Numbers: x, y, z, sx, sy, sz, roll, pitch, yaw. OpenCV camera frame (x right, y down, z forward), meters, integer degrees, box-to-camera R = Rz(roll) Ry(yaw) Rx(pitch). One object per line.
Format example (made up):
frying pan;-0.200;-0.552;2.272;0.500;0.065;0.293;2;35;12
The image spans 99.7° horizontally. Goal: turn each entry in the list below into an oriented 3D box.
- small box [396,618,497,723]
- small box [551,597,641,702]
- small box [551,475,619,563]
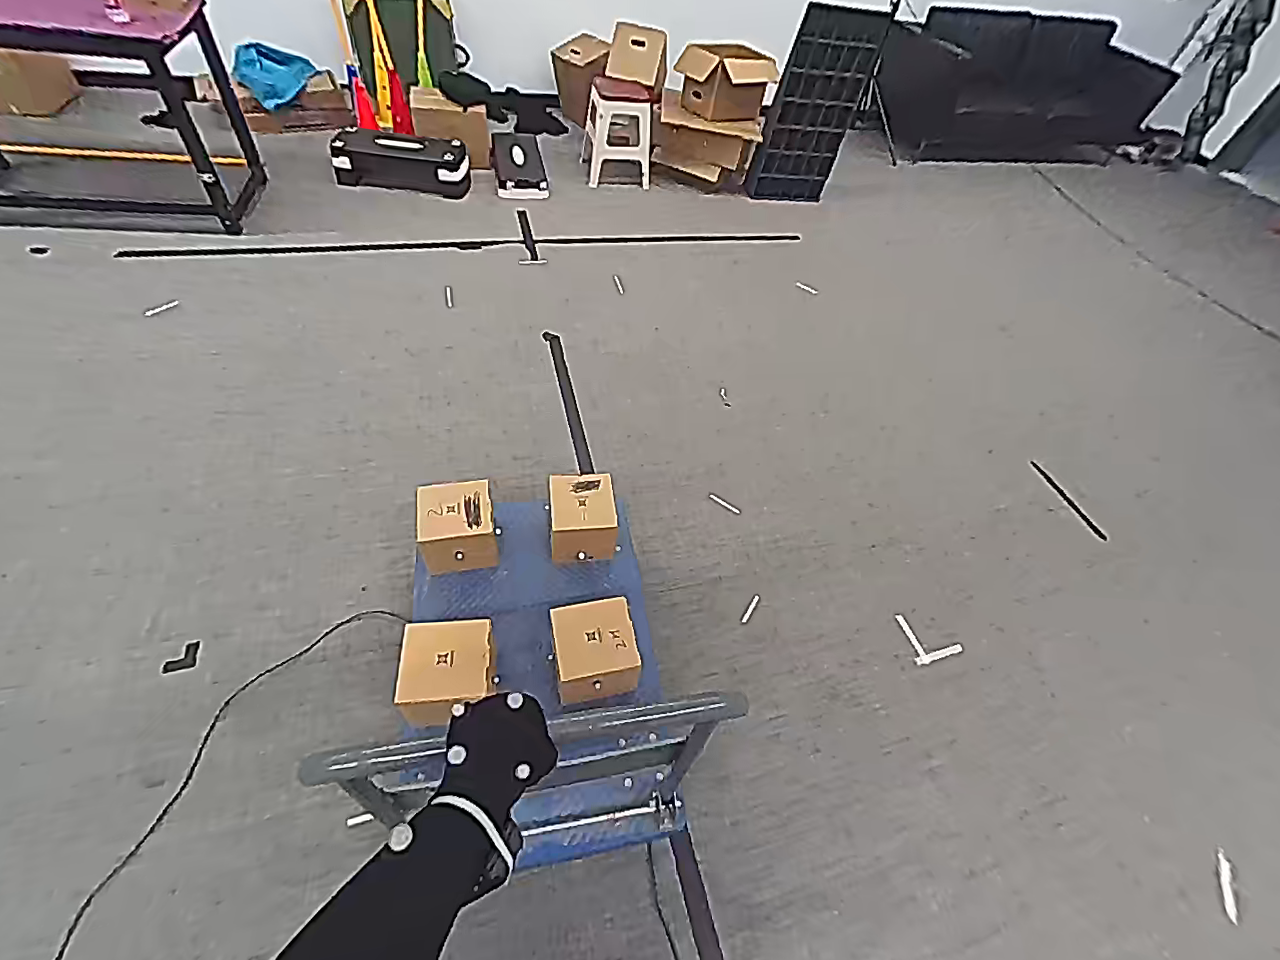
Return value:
small box;-0.406;0.413;1.167;0.179;0.176;0.168;0;51;-11
small box;-0.105;0.390;1.234;0.179;0.176;0.168;-6;53;-14
small box;-0.153;0.104;1.458;0.168;0.176;0.179;-2;53;-11
